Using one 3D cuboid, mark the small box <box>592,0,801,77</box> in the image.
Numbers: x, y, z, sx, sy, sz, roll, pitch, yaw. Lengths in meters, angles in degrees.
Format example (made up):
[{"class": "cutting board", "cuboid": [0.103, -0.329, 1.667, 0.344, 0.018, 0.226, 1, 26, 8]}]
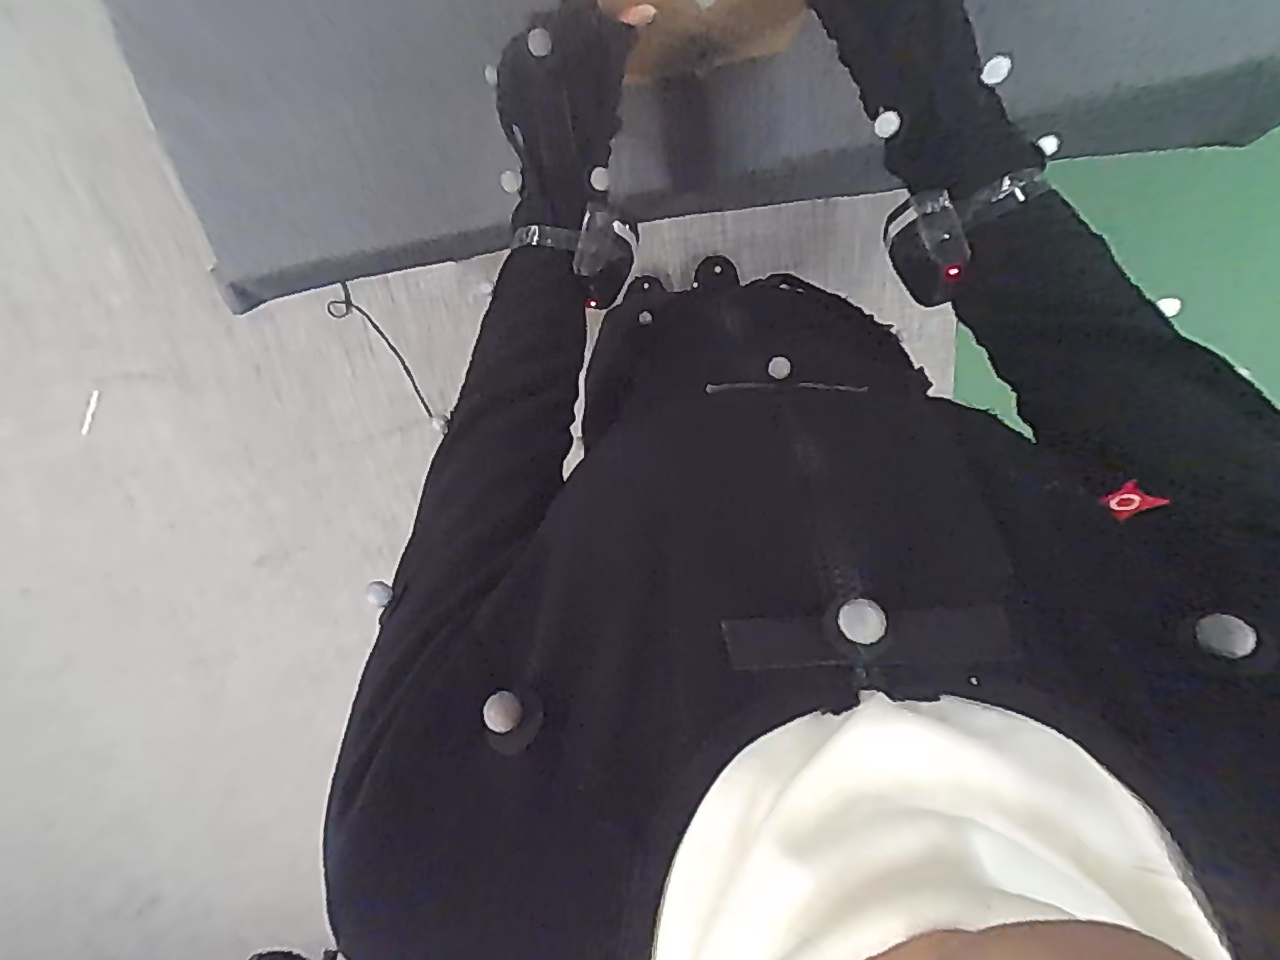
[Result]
[{"class": "small box", "cuboid": [0.039, -0.457, 0.430, 0.179, 0.176, 0.168, -10, 111, 4]}]
